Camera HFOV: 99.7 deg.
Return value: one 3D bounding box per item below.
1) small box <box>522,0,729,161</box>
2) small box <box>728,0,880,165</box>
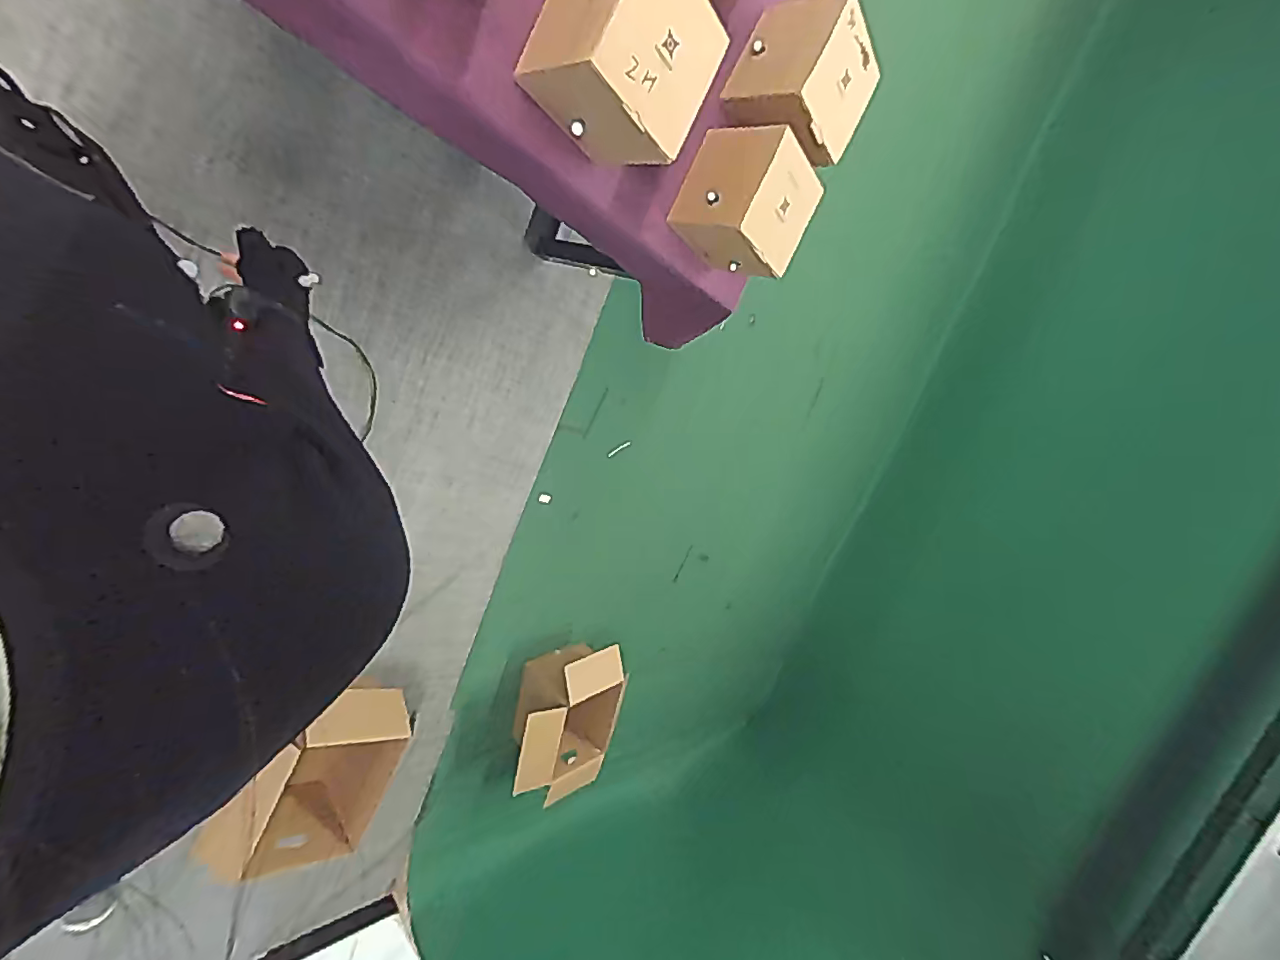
[{"bbox_3d":[-0.022,-0.547,0.696,0.168,0.176,0.179,22,96,-50],"label":"small box"},{"bbox_3d":[0.275,-0.679,0.930,0.168,0.176,0.179,24,95,-51],"label":"small box"}]
